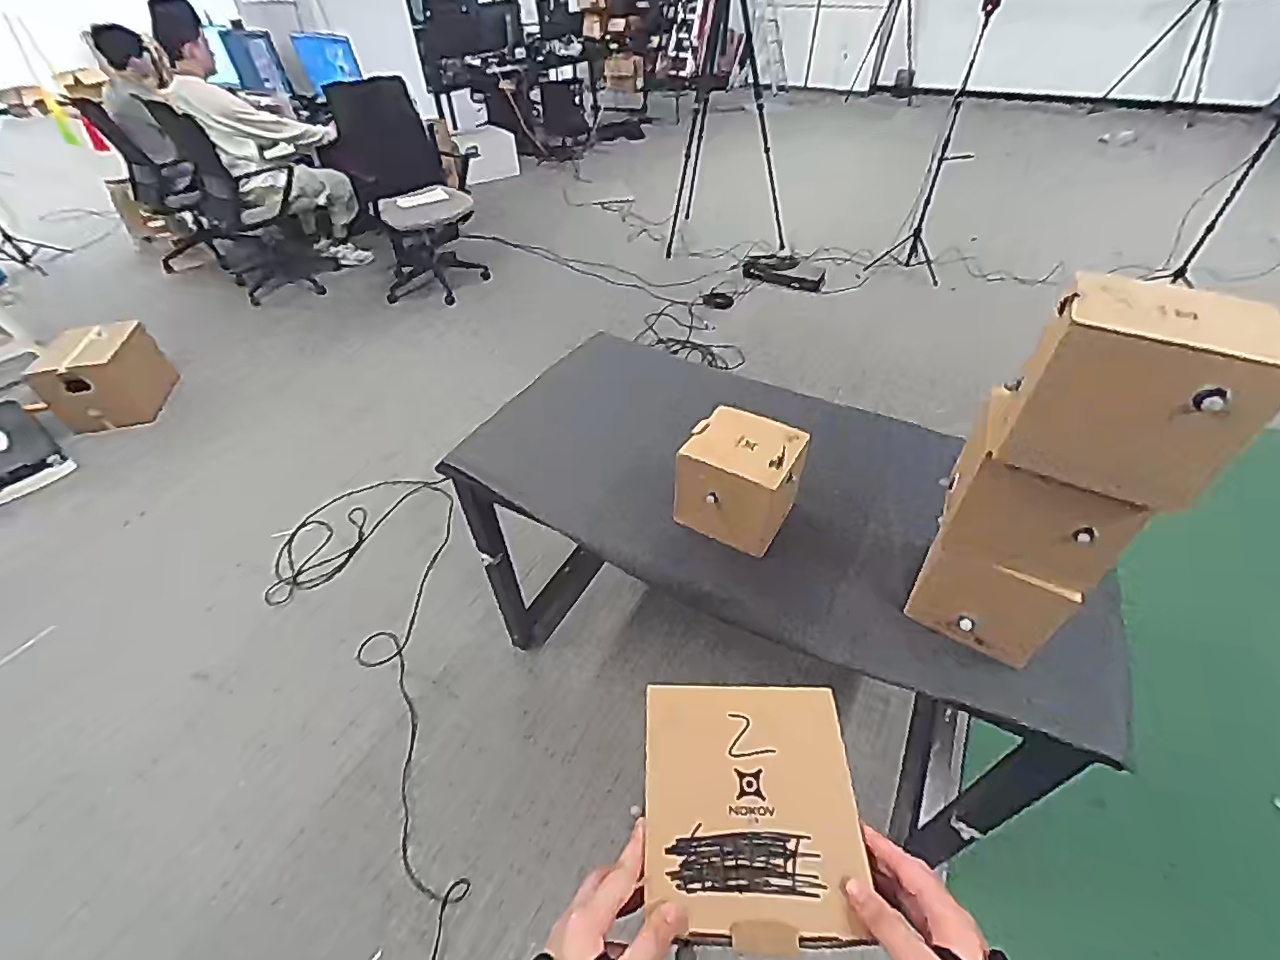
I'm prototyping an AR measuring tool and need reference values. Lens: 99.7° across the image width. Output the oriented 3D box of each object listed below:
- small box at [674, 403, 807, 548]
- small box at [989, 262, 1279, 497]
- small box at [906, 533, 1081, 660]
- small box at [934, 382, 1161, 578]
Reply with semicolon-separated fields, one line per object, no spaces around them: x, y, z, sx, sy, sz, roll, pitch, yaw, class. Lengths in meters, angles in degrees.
0.172;-0.008;0.959;0.179;0.176;0.168;22;48;24;small box
0.507;-0.106;0.570;0.179;0.176;0.168;23;45;25;small box
0.520;0.125;0.802;0.168;0.176;0.179;25;48;27;small box
0.509;0.000;0.698;0.179;0.176;0.168;18;44;22;small box
